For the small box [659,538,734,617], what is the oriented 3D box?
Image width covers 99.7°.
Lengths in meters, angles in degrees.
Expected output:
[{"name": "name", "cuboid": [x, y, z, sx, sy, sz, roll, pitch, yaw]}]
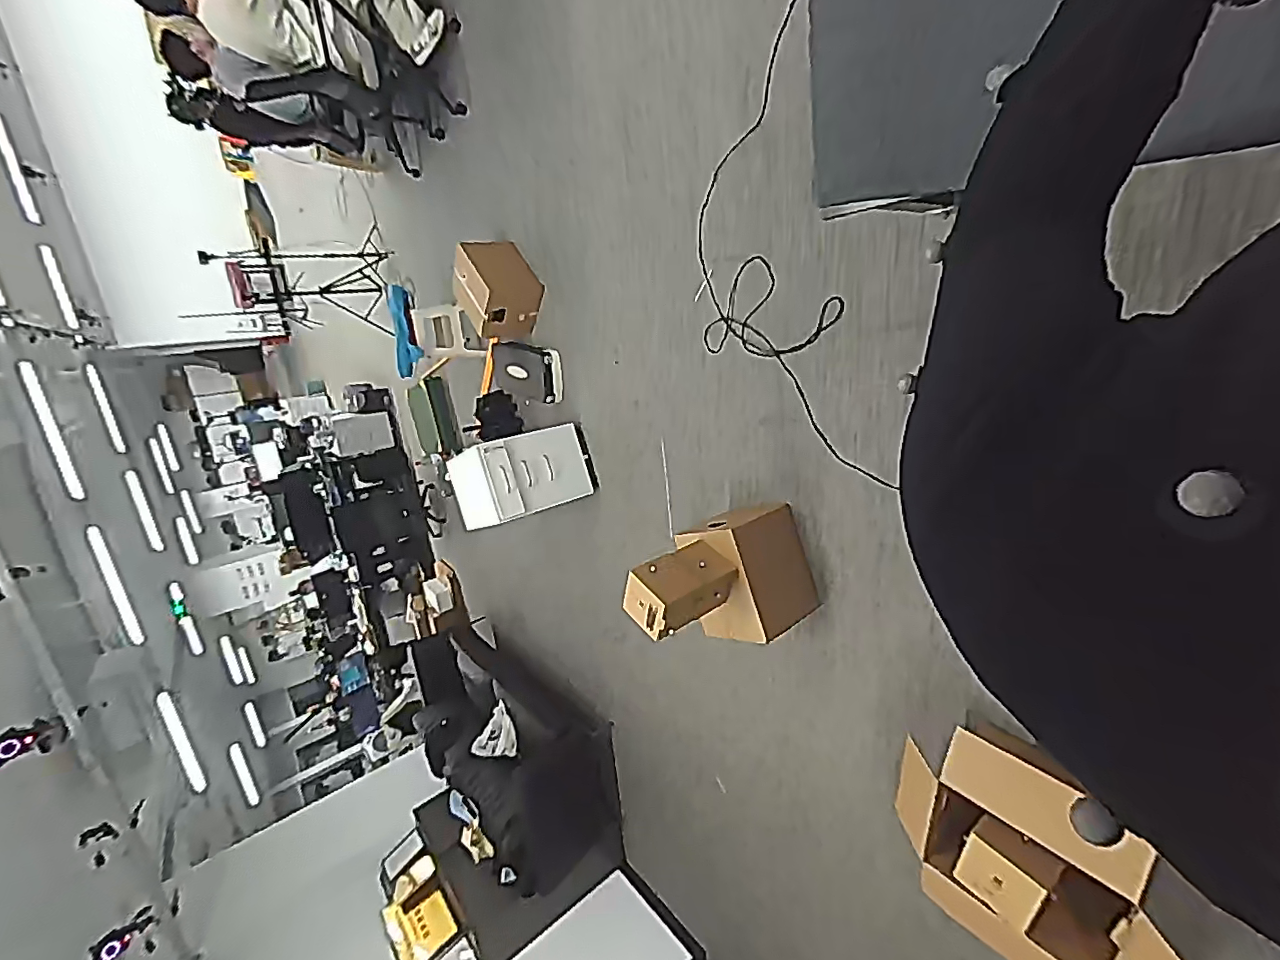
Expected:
[{"name": "small box", "cuboid": [0.194, 0.324, 1.836, 0.179, 0.176, 0.168, 37, 132, 35]}]

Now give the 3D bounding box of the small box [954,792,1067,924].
[{"name": "small box", "cuboid": [0.924, 0.929, 1.347, 0.168, 0.176, 0.179, 30, 128, 47]}]
